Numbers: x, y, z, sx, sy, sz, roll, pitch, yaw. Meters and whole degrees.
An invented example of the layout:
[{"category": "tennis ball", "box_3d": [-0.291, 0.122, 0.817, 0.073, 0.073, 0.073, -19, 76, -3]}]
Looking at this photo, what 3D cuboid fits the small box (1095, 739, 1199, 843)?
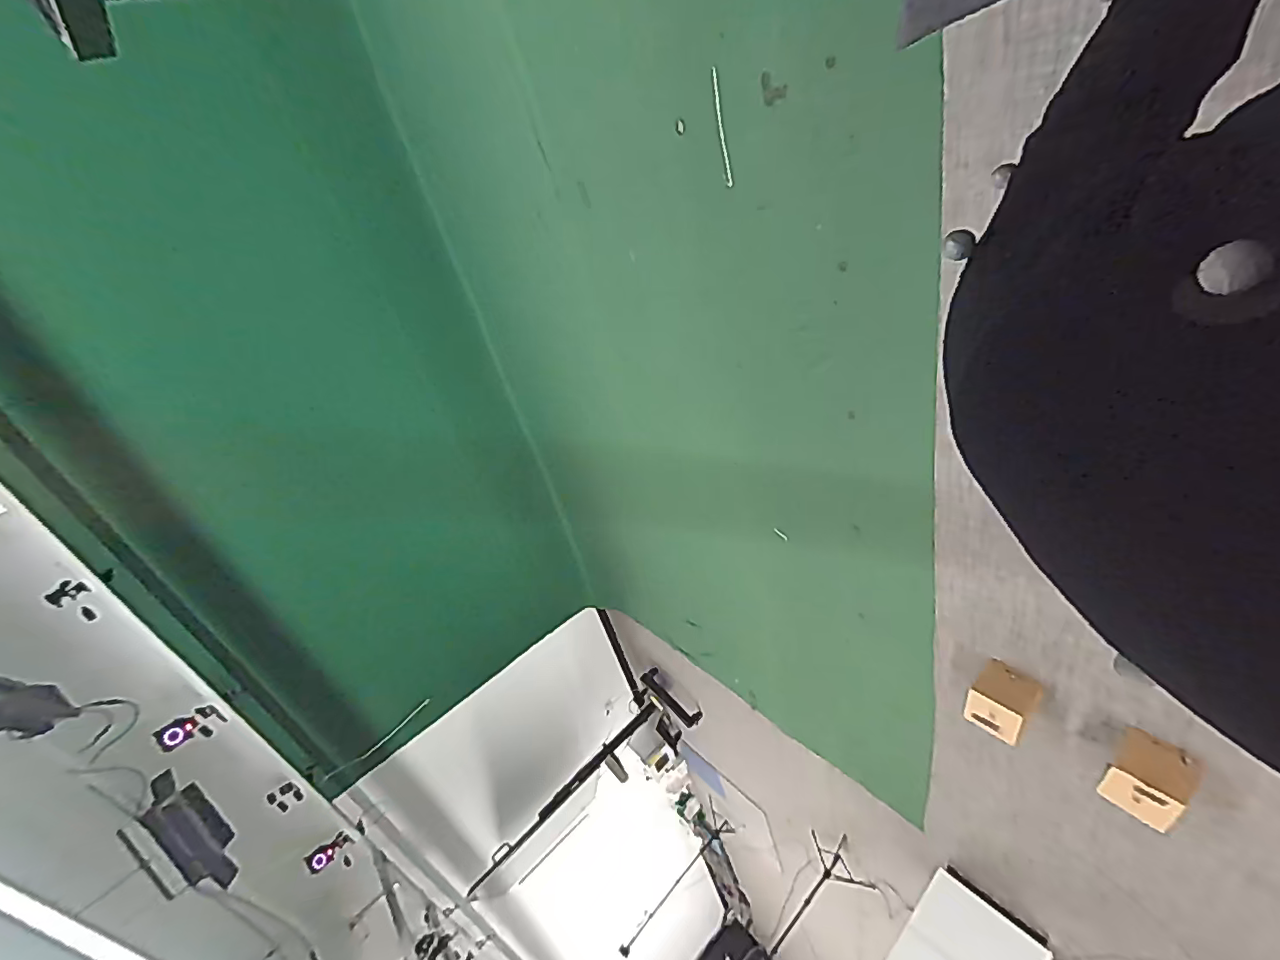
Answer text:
[{"category": "small box", "box_3d": [1.497, 0.910, 1.596, 0.168, 0.176, 0.179, 29, 143, 43]}]
